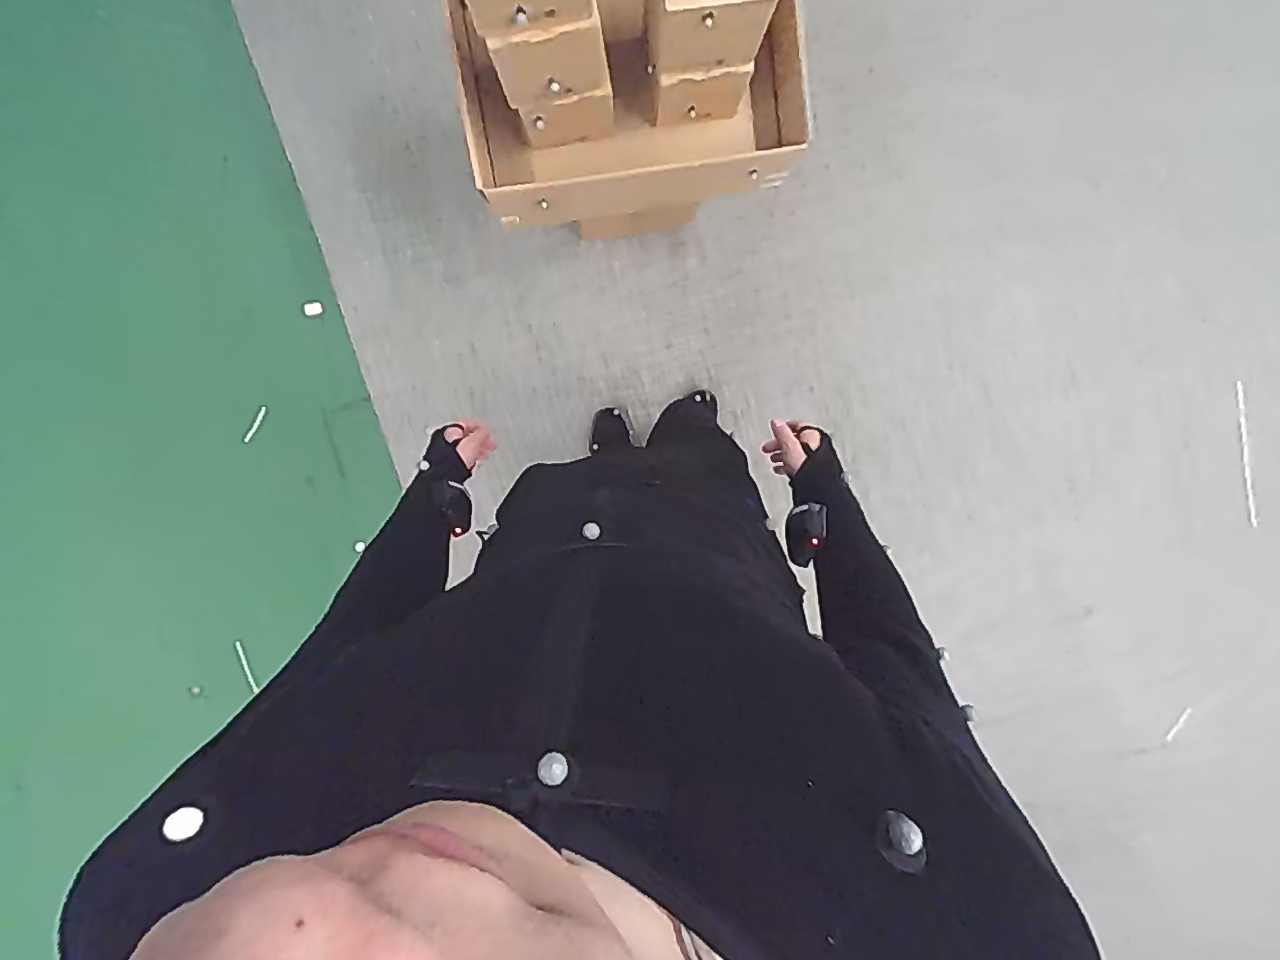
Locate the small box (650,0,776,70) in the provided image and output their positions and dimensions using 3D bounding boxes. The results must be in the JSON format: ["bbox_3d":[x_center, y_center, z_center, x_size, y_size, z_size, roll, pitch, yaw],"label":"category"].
[{"bbox_3d":[0.102,-0.770,0.821,0.168,0.176,0.179,-7,102,-2],"label":"small box"}]

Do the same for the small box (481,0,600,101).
[{"bbox_3d":[-0.157,-0.719,0.814,0.168,0.176,0.179,-12,101,0],"label":"small box"}]

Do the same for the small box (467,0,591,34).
[{"bbox_3d":[-0.156,-0.696,0.653,0.168,0.176,0.179,-11,101,0],"label":"small box"}]
